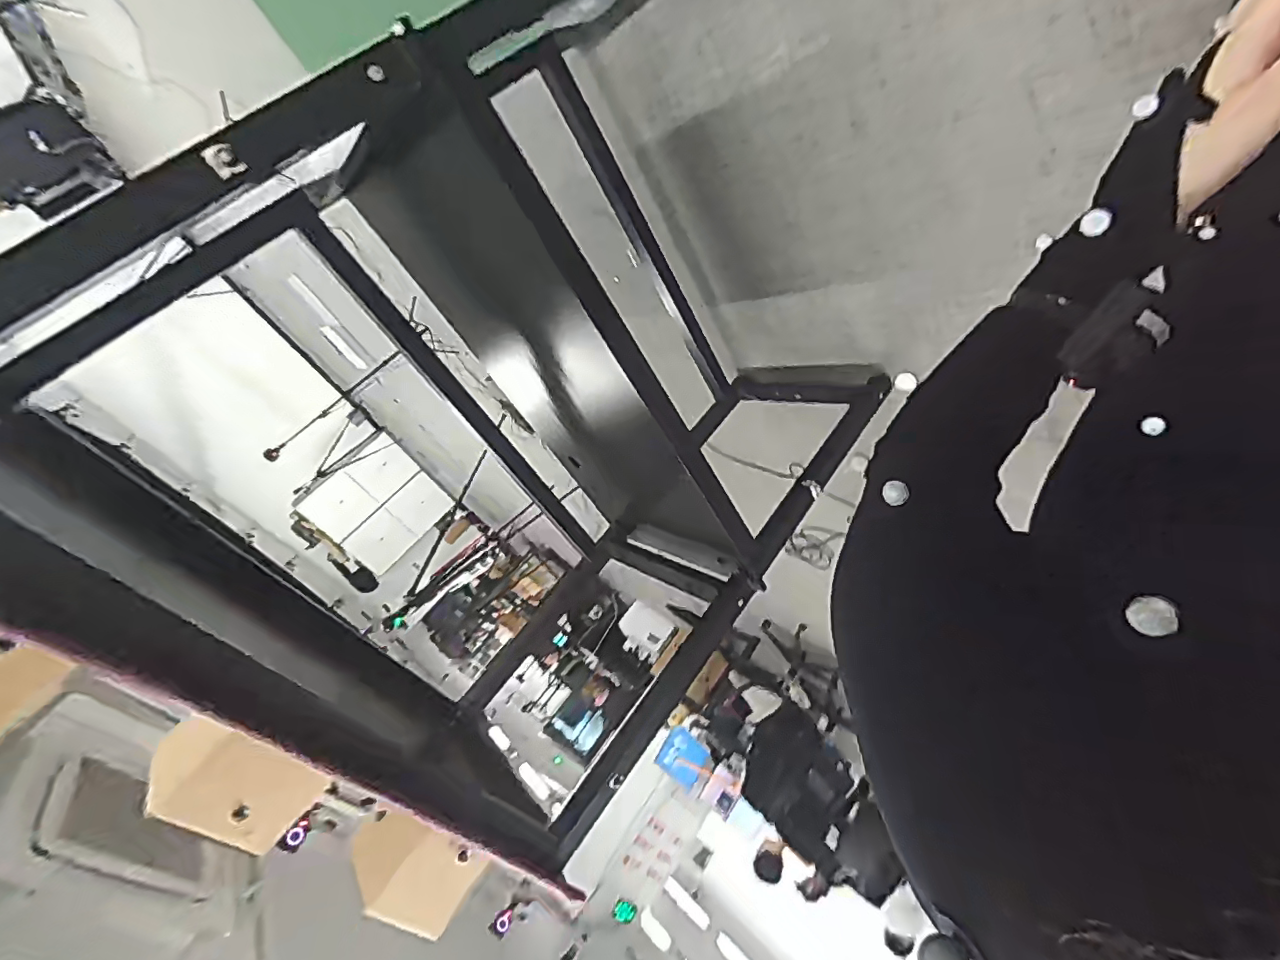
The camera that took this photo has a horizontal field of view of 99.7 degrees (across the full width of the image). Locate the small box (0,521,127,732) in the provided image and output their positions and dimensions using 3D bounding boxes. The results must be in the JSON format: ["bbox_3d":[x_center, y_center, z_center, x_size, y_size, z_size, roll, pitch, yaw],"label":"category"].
[{"bbox_3d":[-0.757,0.169,0.631,0.179,0.176,0.168,19,152,50],"label":"small box"}]

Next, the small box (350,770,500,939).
[{"bbox_3d":[-0.386,0.663,0.981,0.179,0.176,0.168,9,143,53],"label":"small box"}]

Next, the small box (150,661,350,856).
[{"bbox_3d":[-0.582,0.416,0.826,0.168,0.176,0.179,16,148,51],"label":"small box"}]
